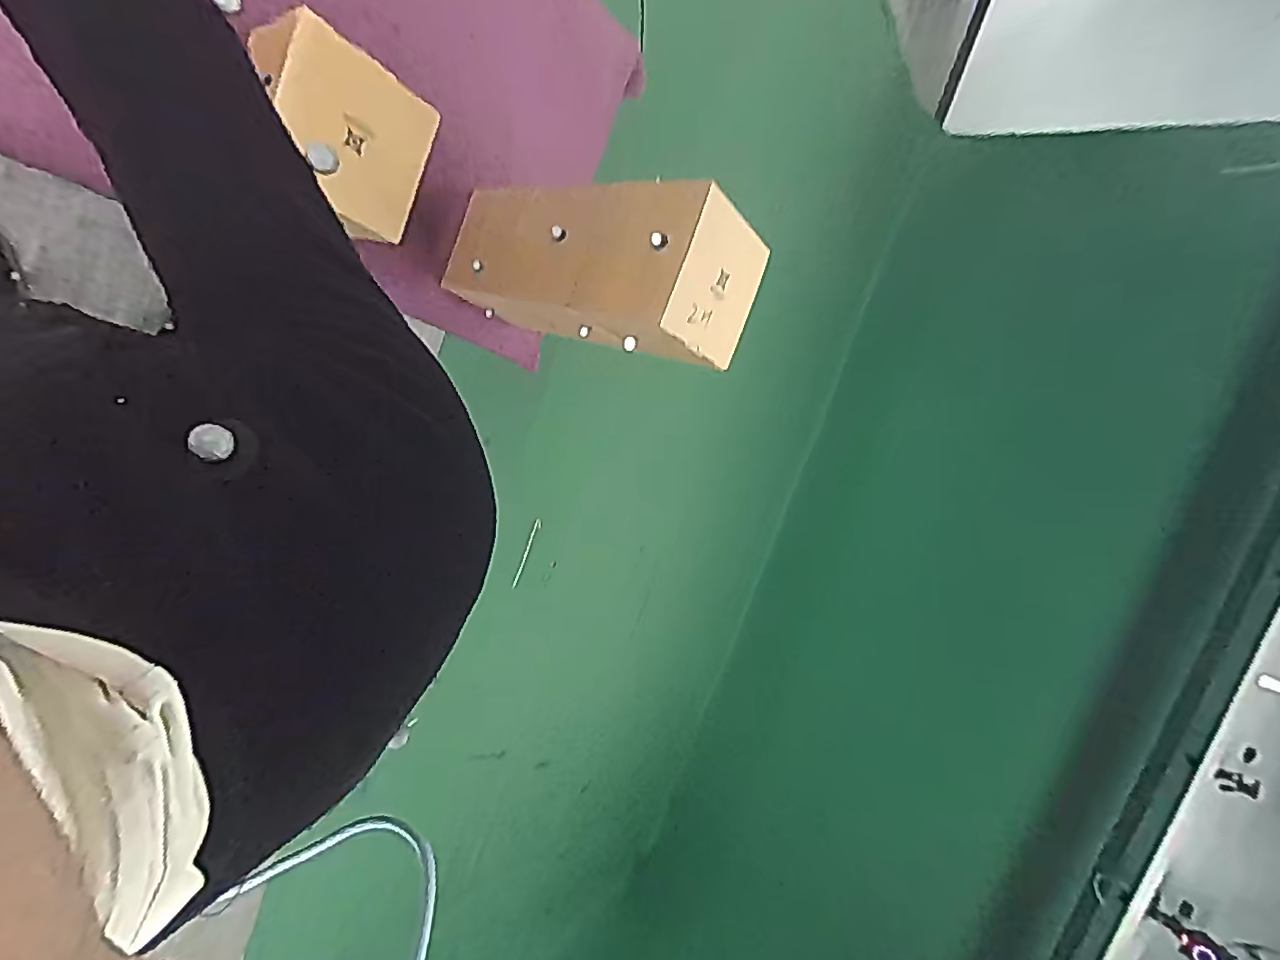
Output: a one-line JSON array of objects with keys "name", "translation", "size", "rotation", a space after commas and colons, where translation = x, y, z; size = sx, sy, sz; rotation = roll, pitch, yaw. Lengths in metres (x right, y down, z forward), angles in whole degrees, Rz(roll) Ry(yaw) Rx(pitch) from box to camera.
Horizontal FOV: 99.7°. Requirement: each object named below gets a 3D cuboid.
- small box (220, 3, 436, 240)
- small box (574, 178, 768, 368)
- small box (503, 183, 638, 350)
[{"name": "small box", "translation": [-0.392, -0.424, 0.674], "size": [0.168, 0.176, 0.179], "rotation": [15, 96, -53]}, {"name": "small box", "translation": [0.039, -0.274, 0.726], "size": [0.168, 0.176, 0.179], "rotation": [16, 97, -52]}, {"name": "small box", "translation": [-0.082, -0.322, 0.828], "size": [0.168, 0.176, 0.179], "rotation": [17, 94, -52]}]
